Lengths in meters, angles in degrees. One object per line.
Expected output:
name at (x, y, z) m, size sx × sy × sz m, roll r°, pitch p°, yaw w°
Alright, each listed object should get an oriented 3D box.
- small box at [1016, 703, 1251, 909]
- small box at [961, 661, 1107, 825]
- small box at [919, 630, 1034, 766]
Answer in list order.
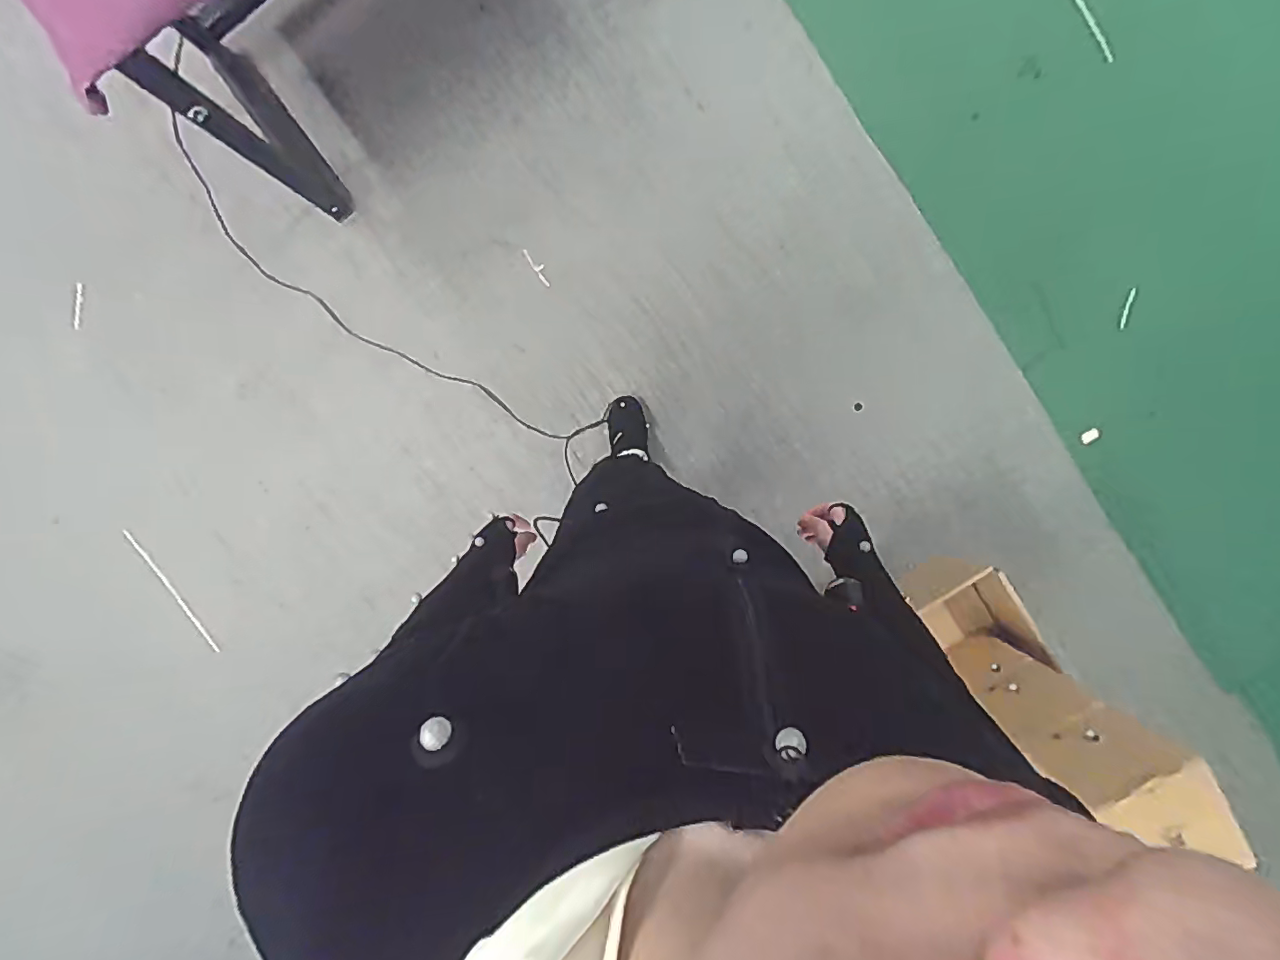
small box at (0.732, 0.482, 0.824) m, size 0.168 × 0.176 × 0.179 m, roll -29°, pitch 93°, yaw 3°
small box at (0.737, 0.467, 0.985) m, size 0.168 × 0.176 × 0.179 m, roll -30°, pitch 93°, yaw 2°
small box at (0.740, 0.453, 1.149) m, size 0.168 × 0.176 × 0.179 m, roll -32°, pitch 93°, yaw 3°
